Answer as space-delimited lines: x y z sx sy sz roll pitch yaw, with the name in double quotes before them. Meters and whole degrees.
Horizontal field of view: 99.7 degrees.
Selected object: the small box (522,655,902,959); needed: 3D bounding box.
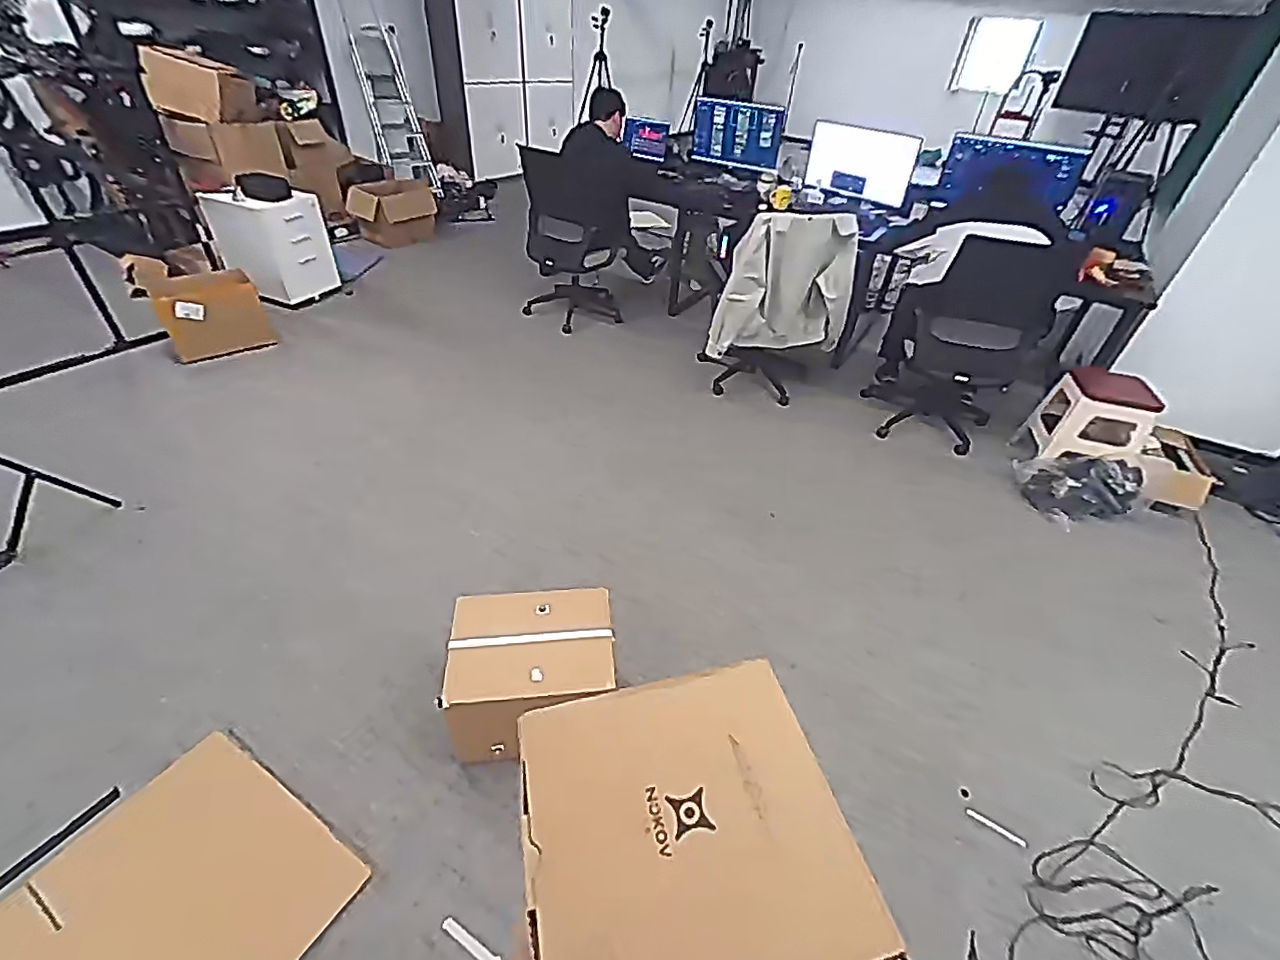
"small box" 0.027 0.248 0.355 0.179 0.176 0.168 -9 41 -11
